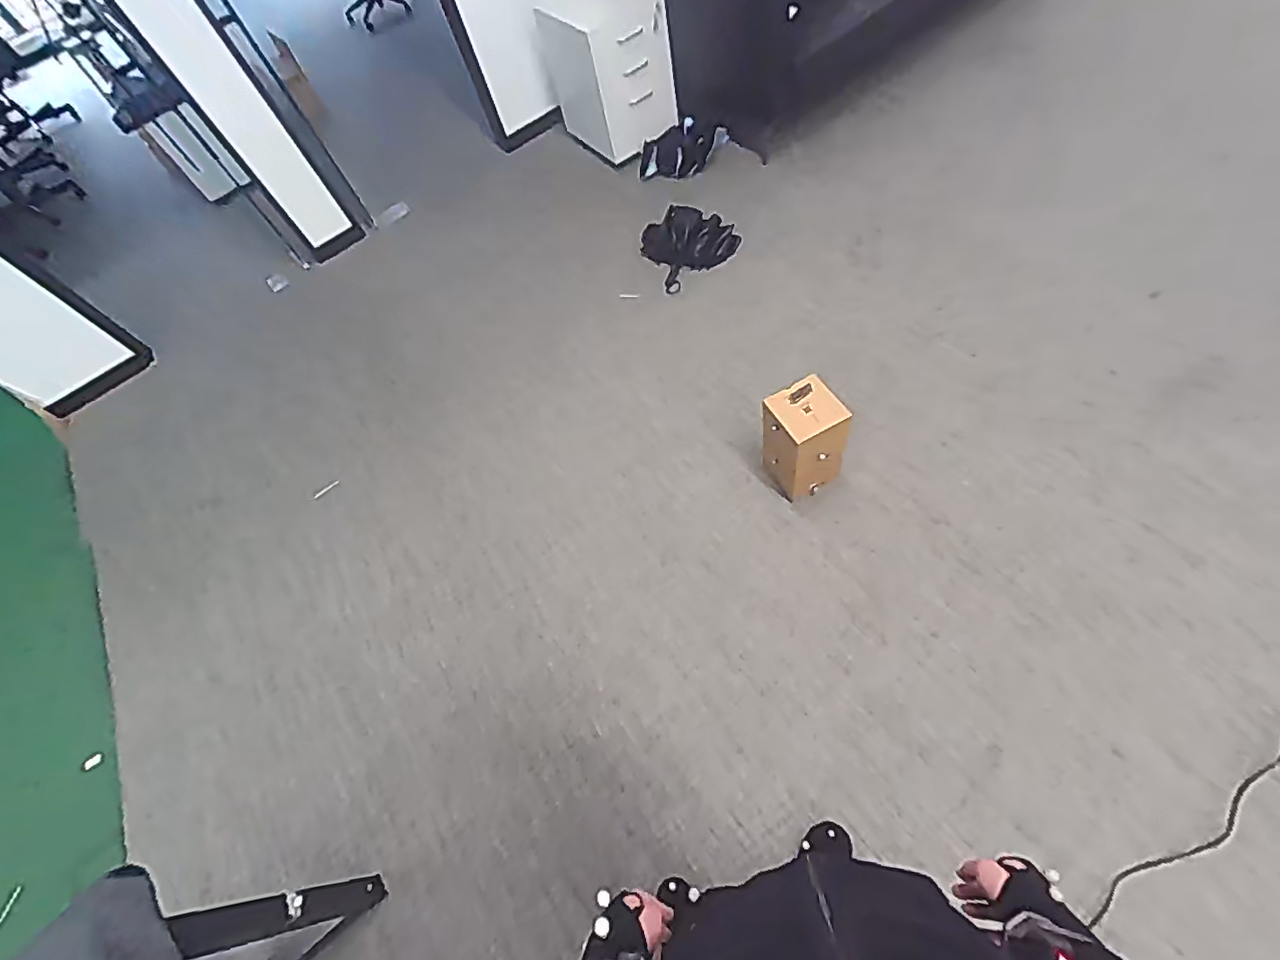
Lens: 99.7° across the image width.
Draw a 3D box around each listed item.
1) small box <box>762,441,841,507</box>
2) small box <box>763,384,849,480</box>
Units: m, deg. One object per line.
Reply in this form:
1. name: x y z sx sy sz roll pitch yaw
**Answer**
1. small box: 0.487 -0.047 1.662 0.168 0.176 0.179 -28 59 -4
2. small box: 0.458 -0.131 1.523 0.168 0.176 0.179 -27 58 -3
